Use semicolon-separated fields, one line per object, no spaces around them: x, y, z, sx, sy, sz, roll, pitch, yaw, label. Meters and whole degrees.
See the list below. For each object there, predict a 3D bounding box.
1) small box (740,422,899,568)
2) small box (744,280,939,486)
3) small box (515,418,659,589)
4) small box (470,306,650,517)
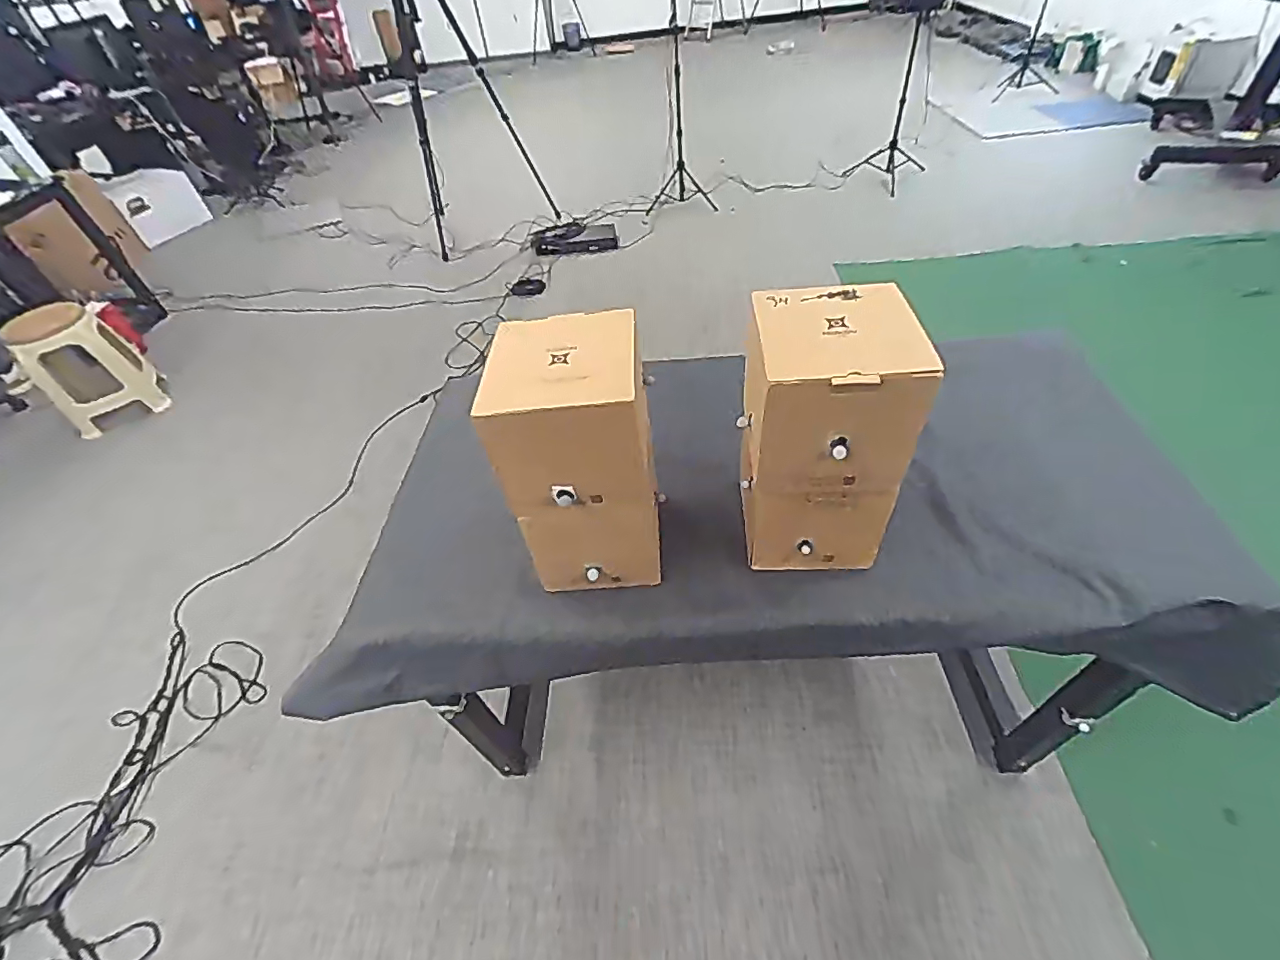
0.229;0.002;0.746;0.168;0.176;0.179;-2;47;5;small box
0.211;-0.105;0.623;0.168;0.176;0.179;-2;48;6;small box
-0.063;0.032;0.754;0.168;0.176;0.179;-5;47;3;small box
-0.078;-0.078;0.635;0.168;0.176;0.179;-6;48;4;small box
